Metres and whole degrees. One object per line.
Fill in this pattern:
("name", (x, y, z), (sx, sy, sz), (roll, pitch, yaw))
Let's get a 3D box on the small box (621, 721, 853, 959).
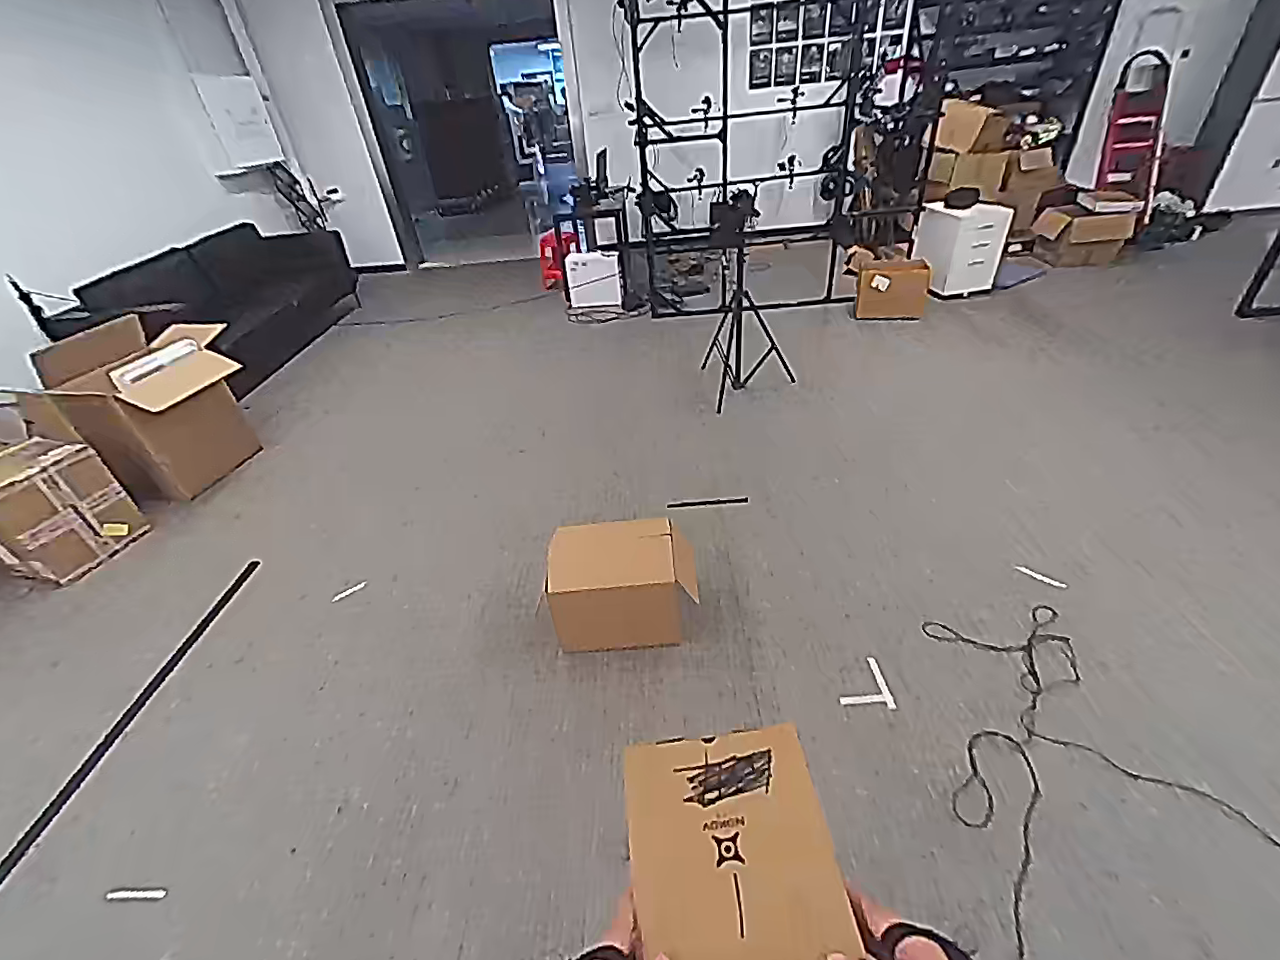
("small box", (0.076, 0.359, 0.505), (0.168, 0.176, 0.179), (-8, 38, 0))
